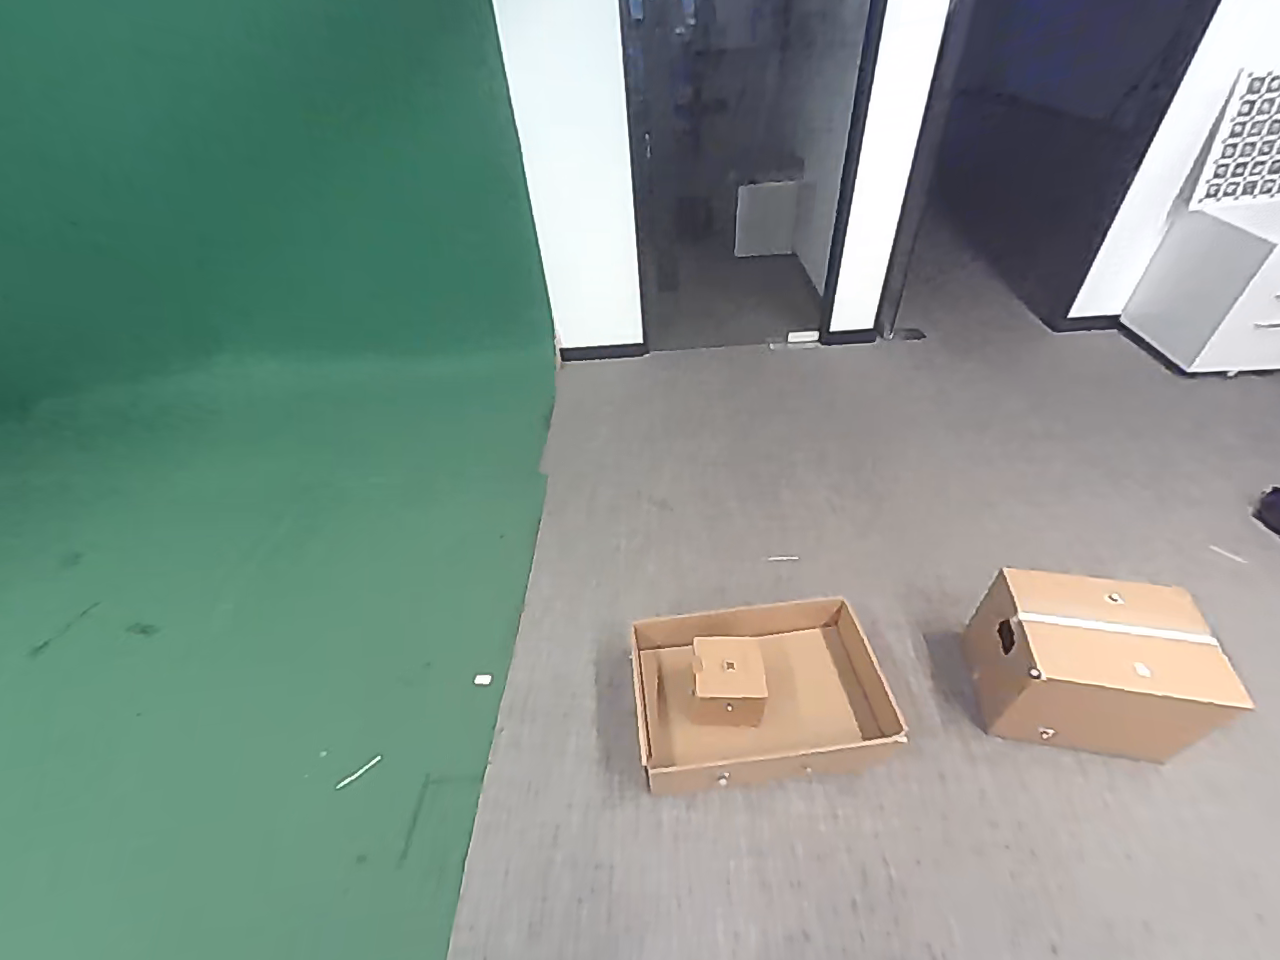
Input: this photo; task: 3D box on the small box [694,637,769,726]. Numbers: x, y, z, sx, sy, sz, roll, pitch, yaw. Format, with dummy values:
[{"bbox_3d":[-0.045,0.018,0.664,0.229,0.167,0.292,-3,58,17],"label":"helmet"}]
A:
[{"bbox_3d":[0.231,0.530,1.420,0.179,0.176,0.168,0,43,2],"label":"small box"}]
